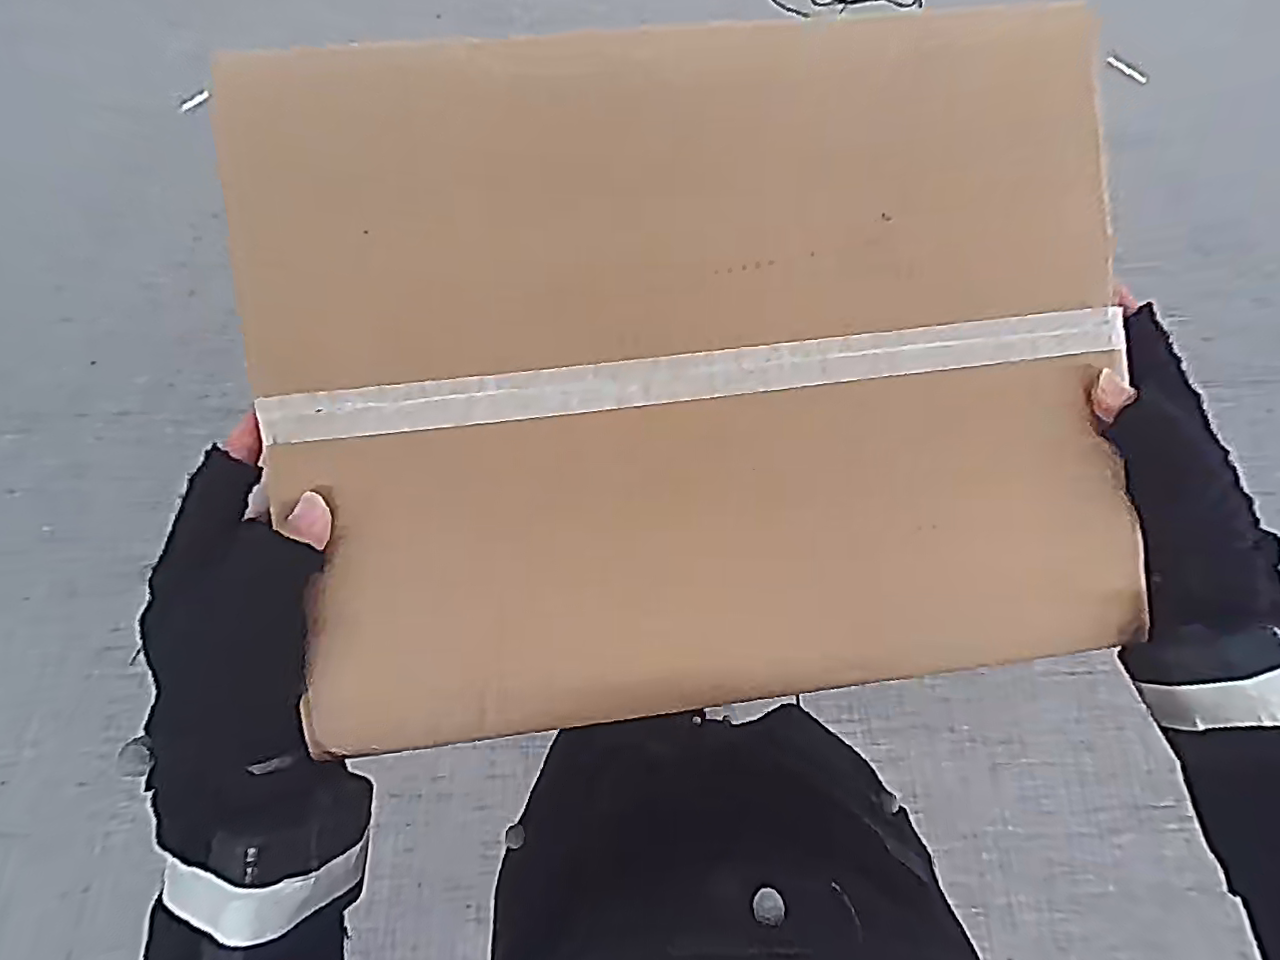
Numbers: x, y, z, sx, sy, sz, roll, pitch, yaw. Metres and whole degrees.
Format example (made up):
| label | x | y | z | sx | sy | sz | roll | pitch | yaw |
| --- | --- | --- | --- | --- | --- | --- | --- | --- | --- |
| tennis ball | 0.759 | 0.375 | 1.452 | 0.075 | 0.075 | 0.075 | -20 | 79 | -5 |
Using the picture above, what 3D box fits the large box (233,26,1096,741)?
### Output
| label | x | y | z | sx | sy | sz | roll | pitch | yaw |
| --- | --- | --- | --- | --- | --- | --- | --- | --- | --- |
| large box | 0.020 | -0.057 | 0.412 | 0.408 | 0.320 | 0.320 | -7 | 92 | -4 |
